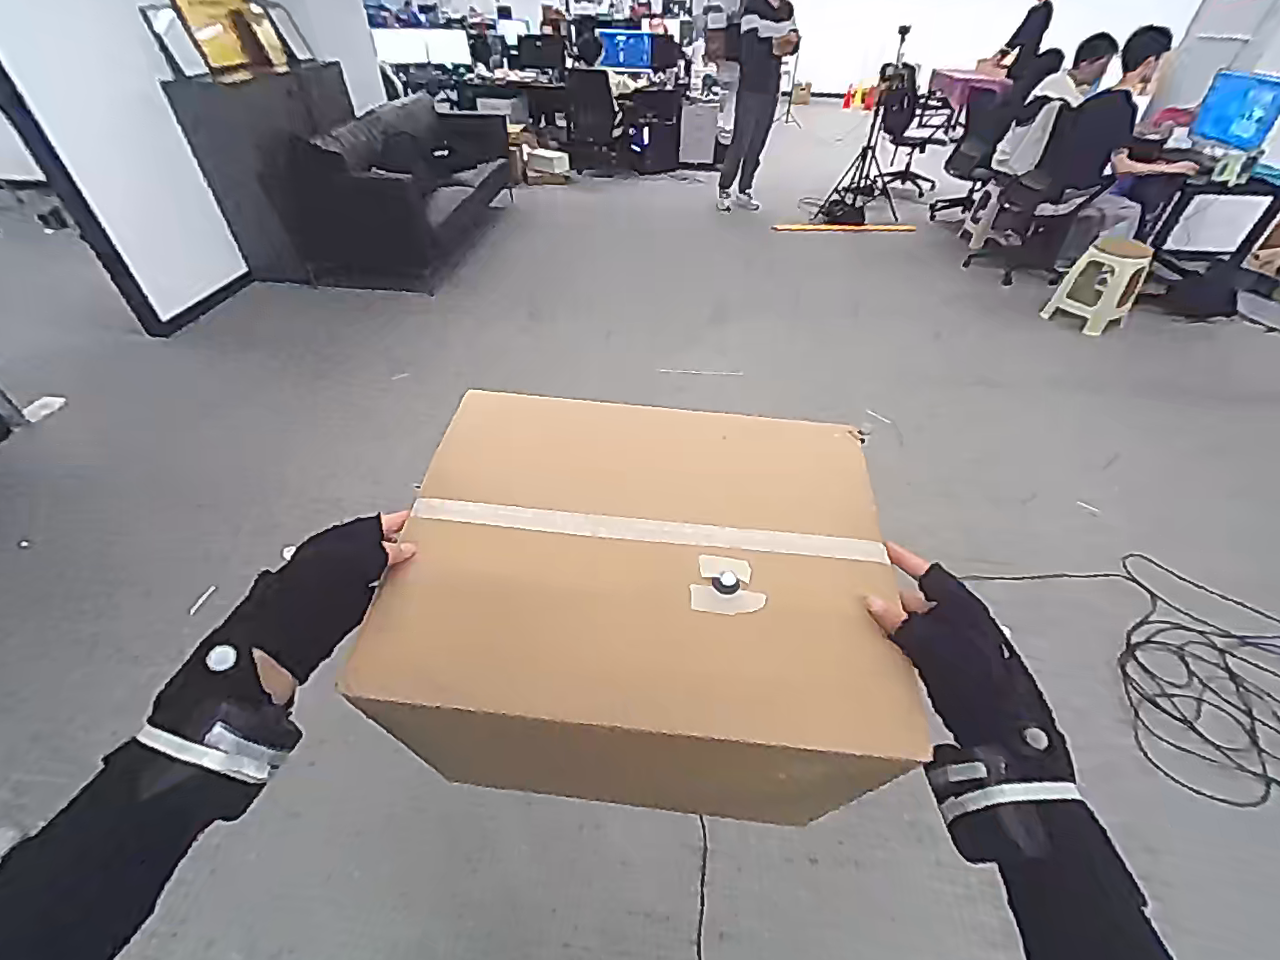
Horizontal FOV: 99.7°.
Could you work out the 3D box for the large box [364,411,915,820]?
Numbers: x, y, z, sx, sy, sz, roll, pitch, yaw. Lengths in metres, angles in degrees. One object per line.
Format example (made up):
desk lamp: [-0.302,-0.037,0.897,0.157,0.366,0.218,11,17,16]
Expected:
large box: [0.003,0.152,0.590,0.408,0.320,0.320,5,51,2]
